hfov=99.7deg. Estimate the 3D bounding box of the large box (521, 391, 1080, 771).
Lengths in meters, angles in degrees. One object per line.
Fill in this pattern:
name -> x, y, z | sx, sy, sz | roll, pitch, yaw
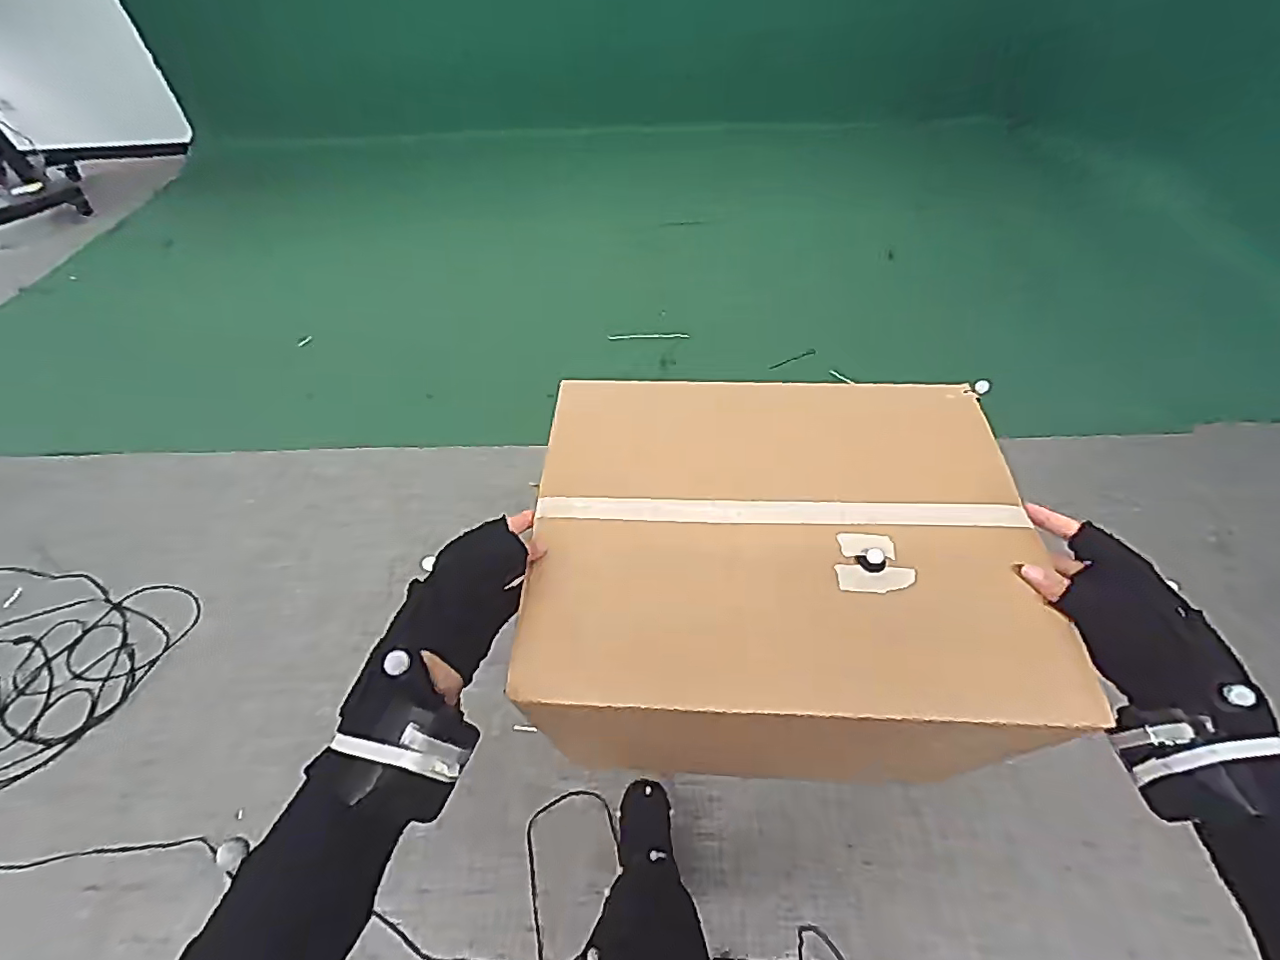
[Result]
large box -> 0.117, 0.120, 0.589 | 0.408, 0.320, 0.320 | 1, 55, 3
